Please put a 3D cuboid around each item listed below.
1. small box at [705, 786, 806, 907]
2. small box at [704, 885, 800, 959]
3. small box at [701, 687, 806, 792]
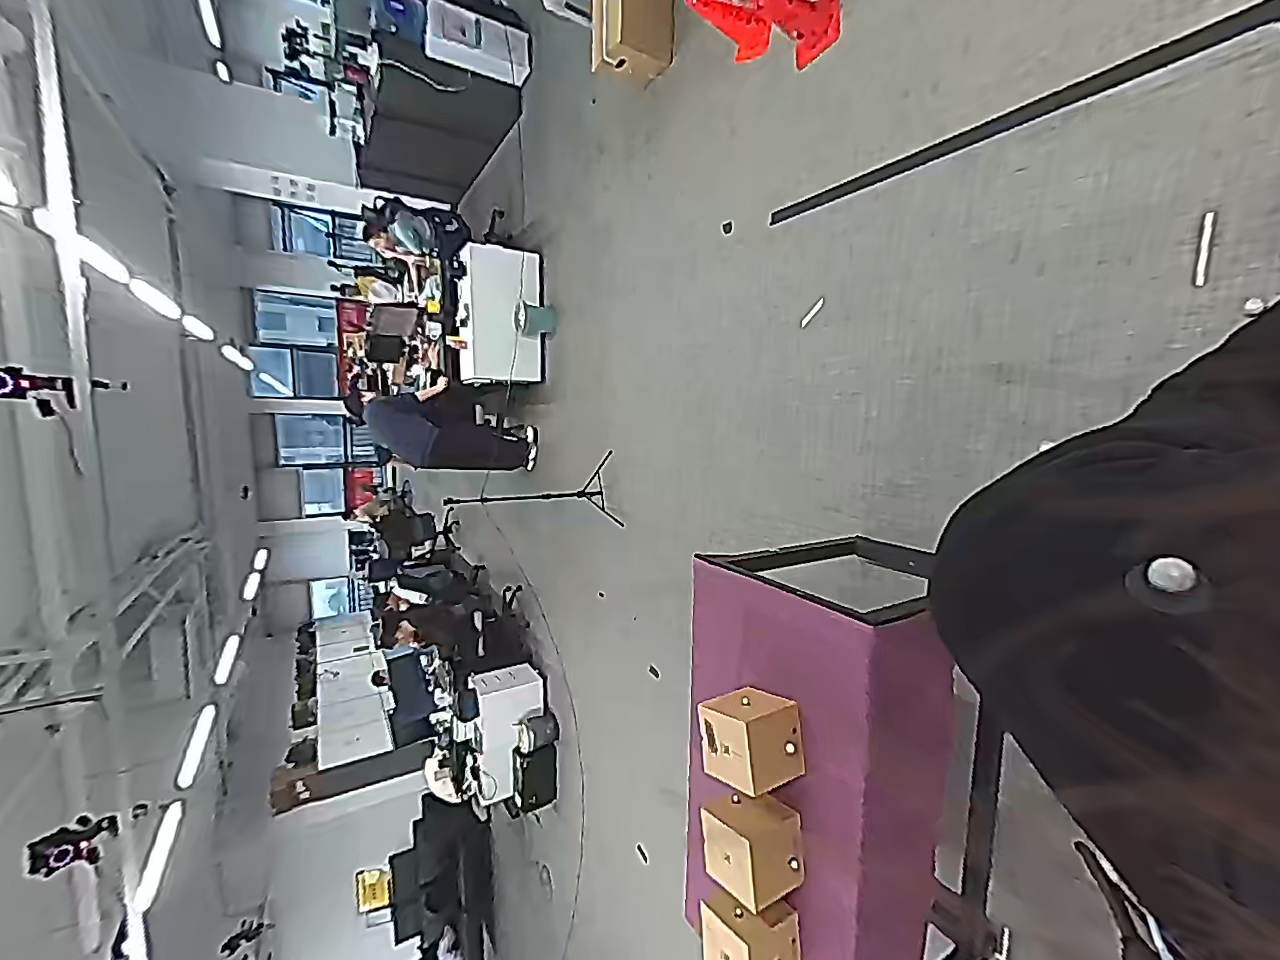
[{"bbox_3d":[0.281,0.880,1.326,0.179,0.176,0.168,-6,89,59],"label":"small box"},{"bbox_3d":[0.283,1.132,1.349,0.179,0.176,0.168,-4,89,59],"label":"small box"},{"bbox_3d":[0.272,0.614,1.308,0.179,0.176,0.168,-12,83,58],"label":"small box"}]
